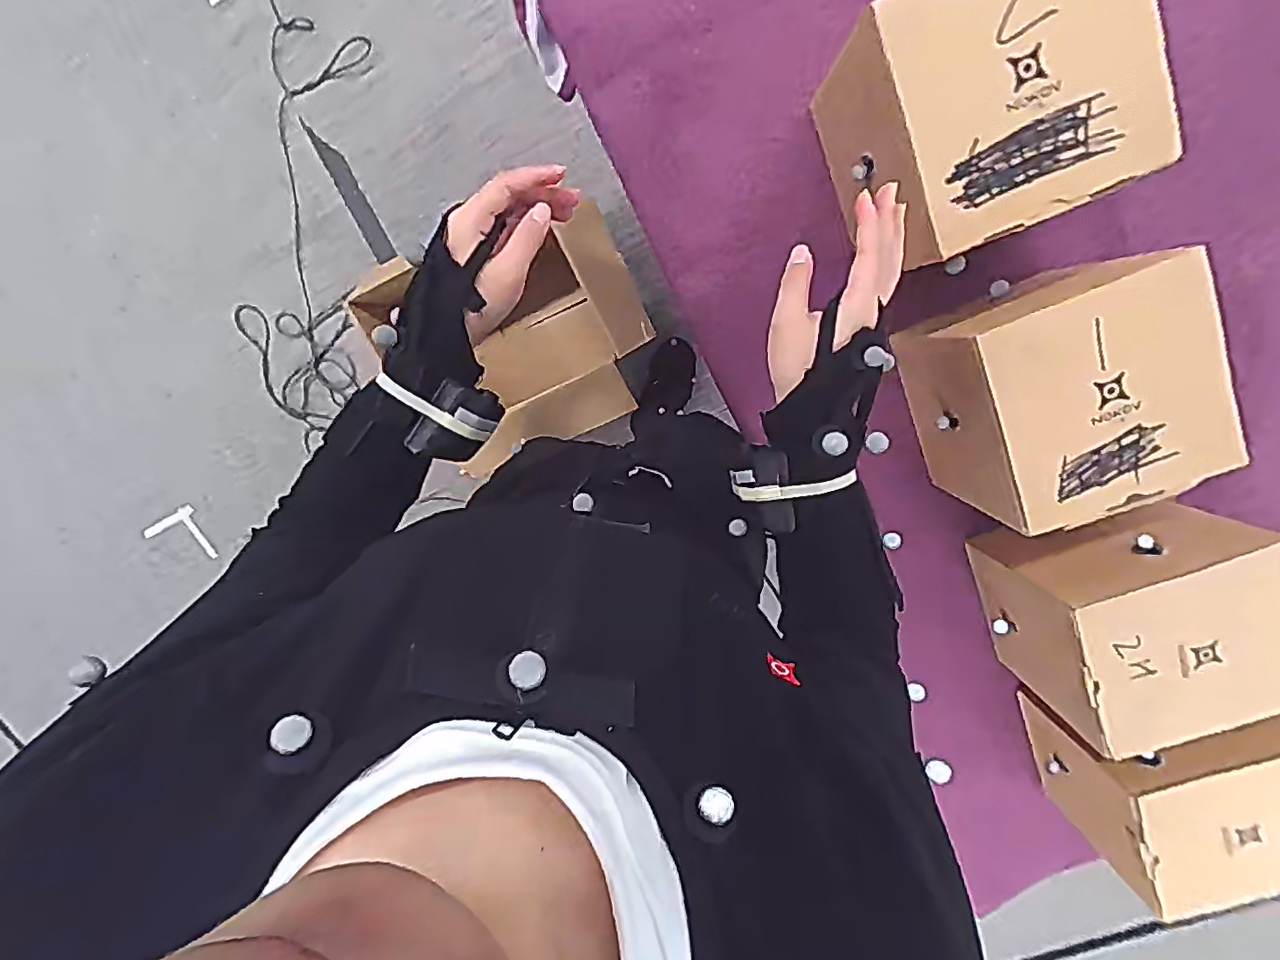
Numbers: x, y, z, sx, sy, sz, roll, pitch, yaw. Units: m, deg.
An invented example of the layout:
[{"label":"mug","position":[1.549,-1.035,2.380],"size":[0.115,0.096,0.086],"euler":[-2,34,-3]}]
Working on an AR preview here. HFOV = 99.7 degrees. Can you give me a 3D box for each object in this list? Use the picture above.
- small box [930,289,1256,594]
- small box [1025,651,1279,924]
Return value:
[{"label":"small box","position":[0.391,-0.029,0.487],"size":[0.179,0.176,0.168],"euler":[47,142,-5]},{"label":"small box","position":[0.567,0.313,0.580],"size":[0.179,0.176,0.168],"euler":[-21,102,7]}]
